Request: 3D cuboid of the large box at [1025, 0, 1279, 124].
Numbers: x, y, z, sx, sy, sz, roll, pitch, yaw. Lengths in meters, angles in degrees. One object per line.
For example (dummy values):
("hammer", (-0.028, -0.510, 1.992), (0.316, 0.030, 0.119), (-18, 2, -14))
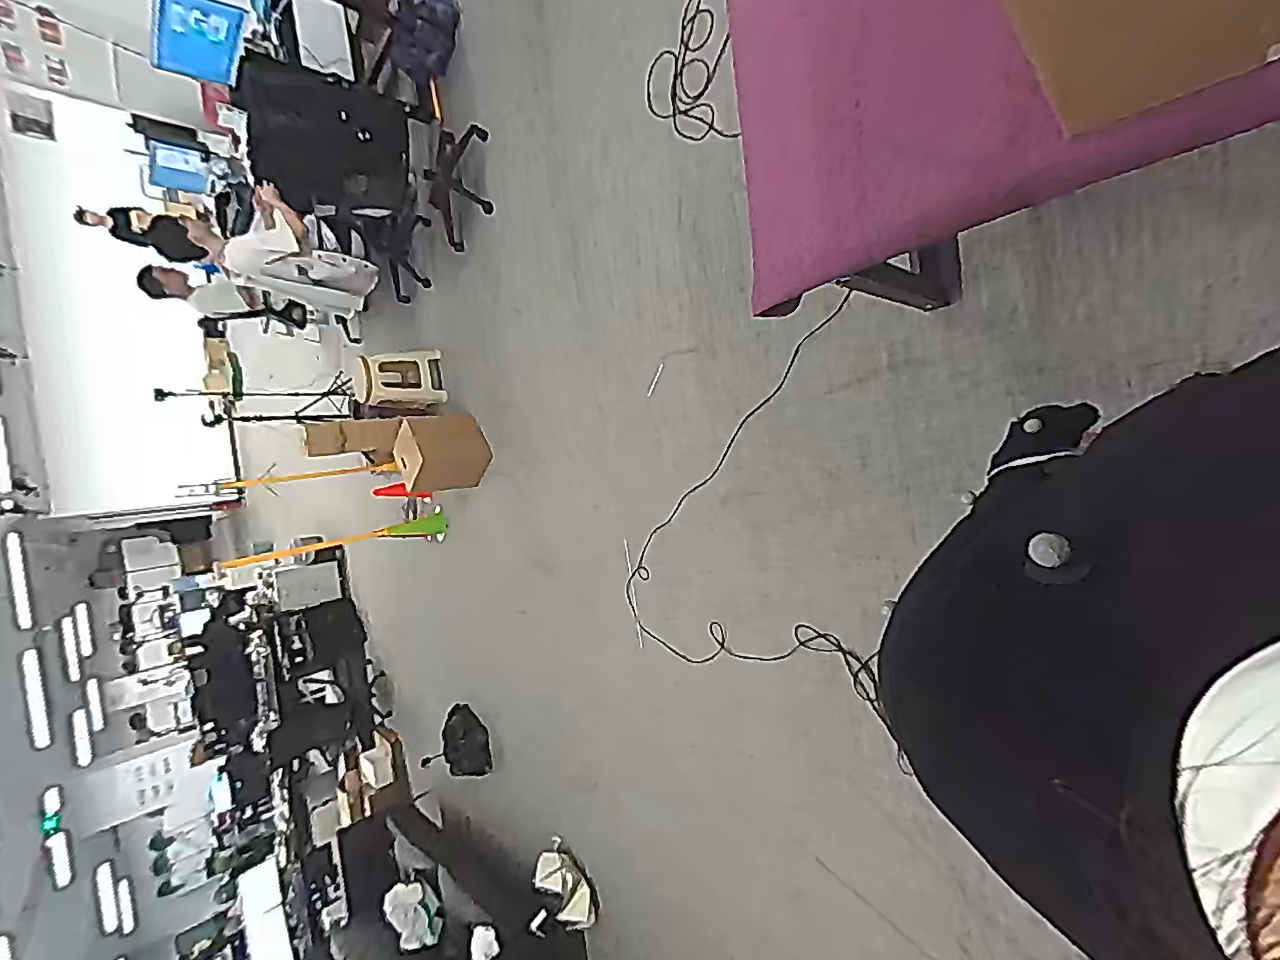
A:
("large box", (0.464, -0.576, 0.381), (0.320, 0.320, 0.408), (-2, 95, 46))
